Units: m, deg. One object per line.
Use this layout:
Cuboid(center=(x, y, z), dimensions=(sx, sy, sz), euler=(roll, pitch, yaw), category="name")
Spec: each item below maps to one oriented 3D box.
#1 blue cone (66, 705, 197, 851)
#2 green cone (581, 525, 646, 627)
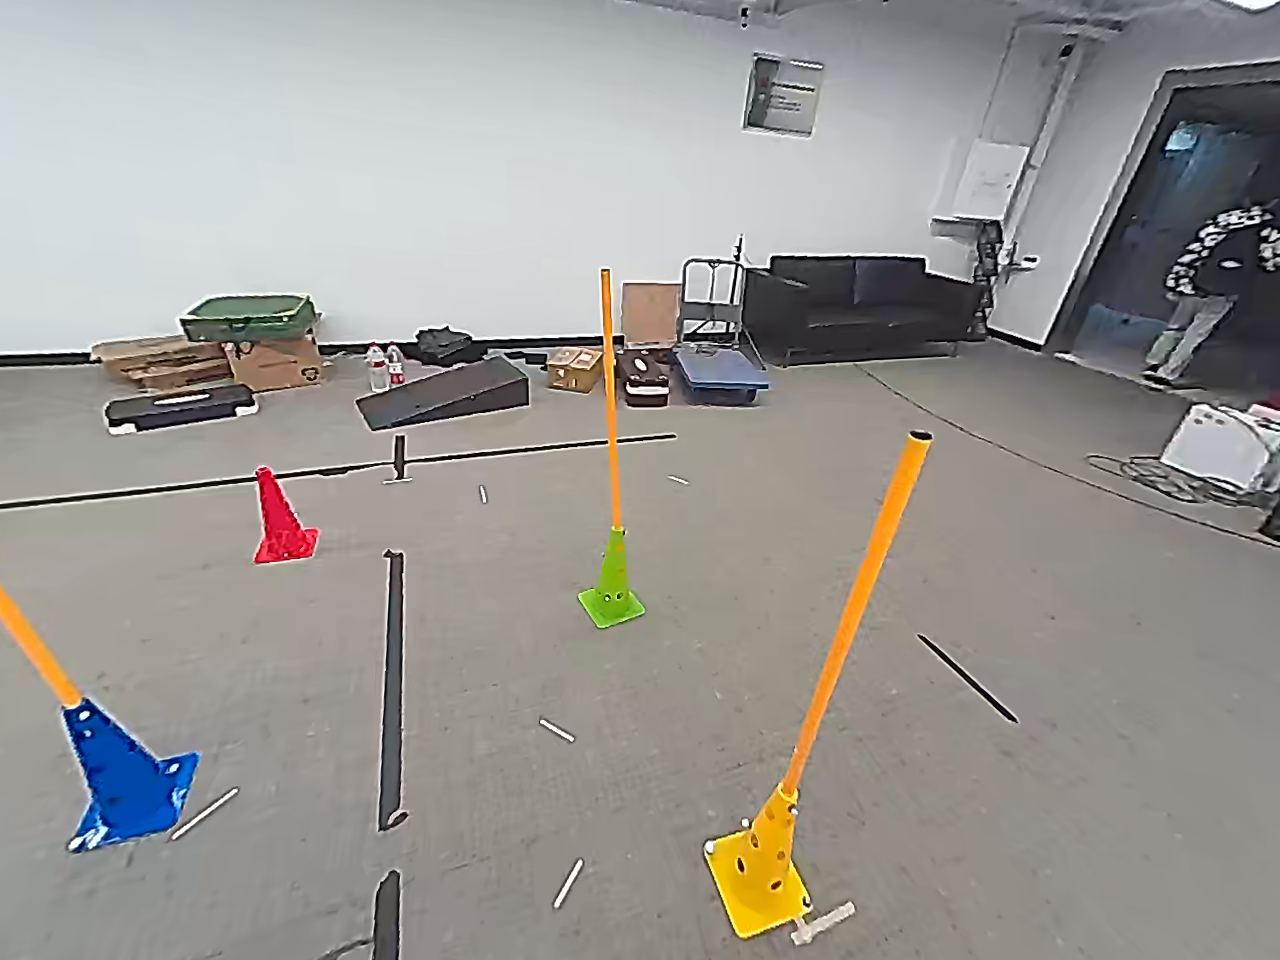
Cuboid(center=(-1.205, 0.644, 1.241), dimensions=(0.193, 0.380, 0.192), euler=(-6, 32, -17), category="blue cone")
Cuboid(center=(-0.087, 0.318, 1.953), dimensions=(0.200, 0.368, 0.202), euler=(-13, 36, -28), category="green cone")
